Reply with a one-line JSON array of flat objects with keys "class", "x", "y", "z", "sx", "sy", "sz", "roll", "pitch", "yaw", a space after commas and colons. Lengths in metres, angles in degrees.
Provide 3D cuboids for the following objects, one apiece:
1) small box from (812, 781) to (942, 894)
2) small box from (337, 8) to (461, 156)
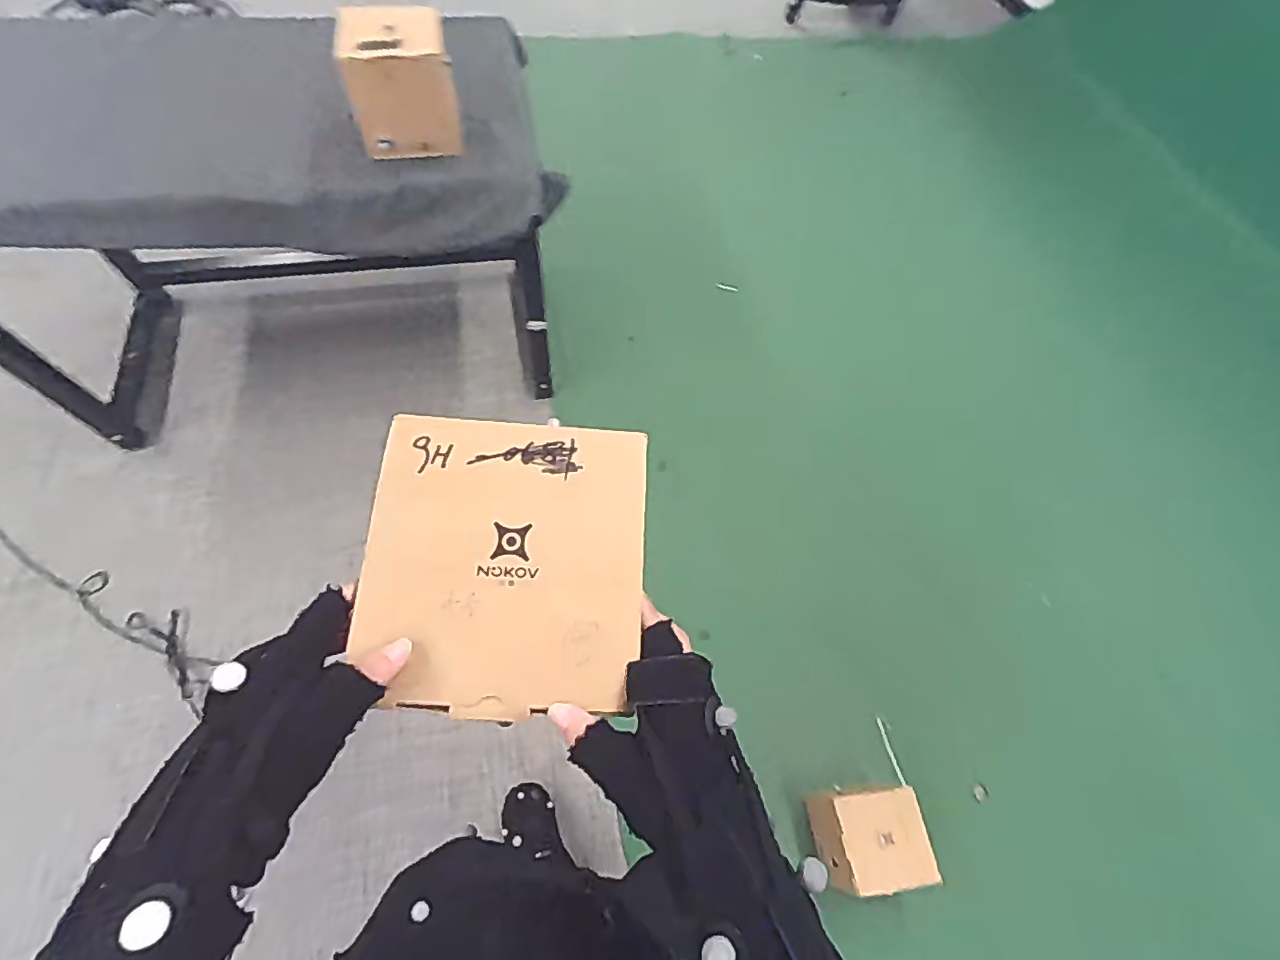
[{"class": "small box", "x": 0.475, "y": 0.731, "z": 1.122, "sx": 0.179, "sy": 0.176, "sz": 0.168, "roll": -3, "pitch": 65, "yaw": -8}, {"class": "small box", "x": -0.431, "y": -0.719, "z": 0.988, "sx": 0.168, "sy": 0.176, "sz": 0.179, "roll": -8, "pitch": 62, "yaw": -10}]
